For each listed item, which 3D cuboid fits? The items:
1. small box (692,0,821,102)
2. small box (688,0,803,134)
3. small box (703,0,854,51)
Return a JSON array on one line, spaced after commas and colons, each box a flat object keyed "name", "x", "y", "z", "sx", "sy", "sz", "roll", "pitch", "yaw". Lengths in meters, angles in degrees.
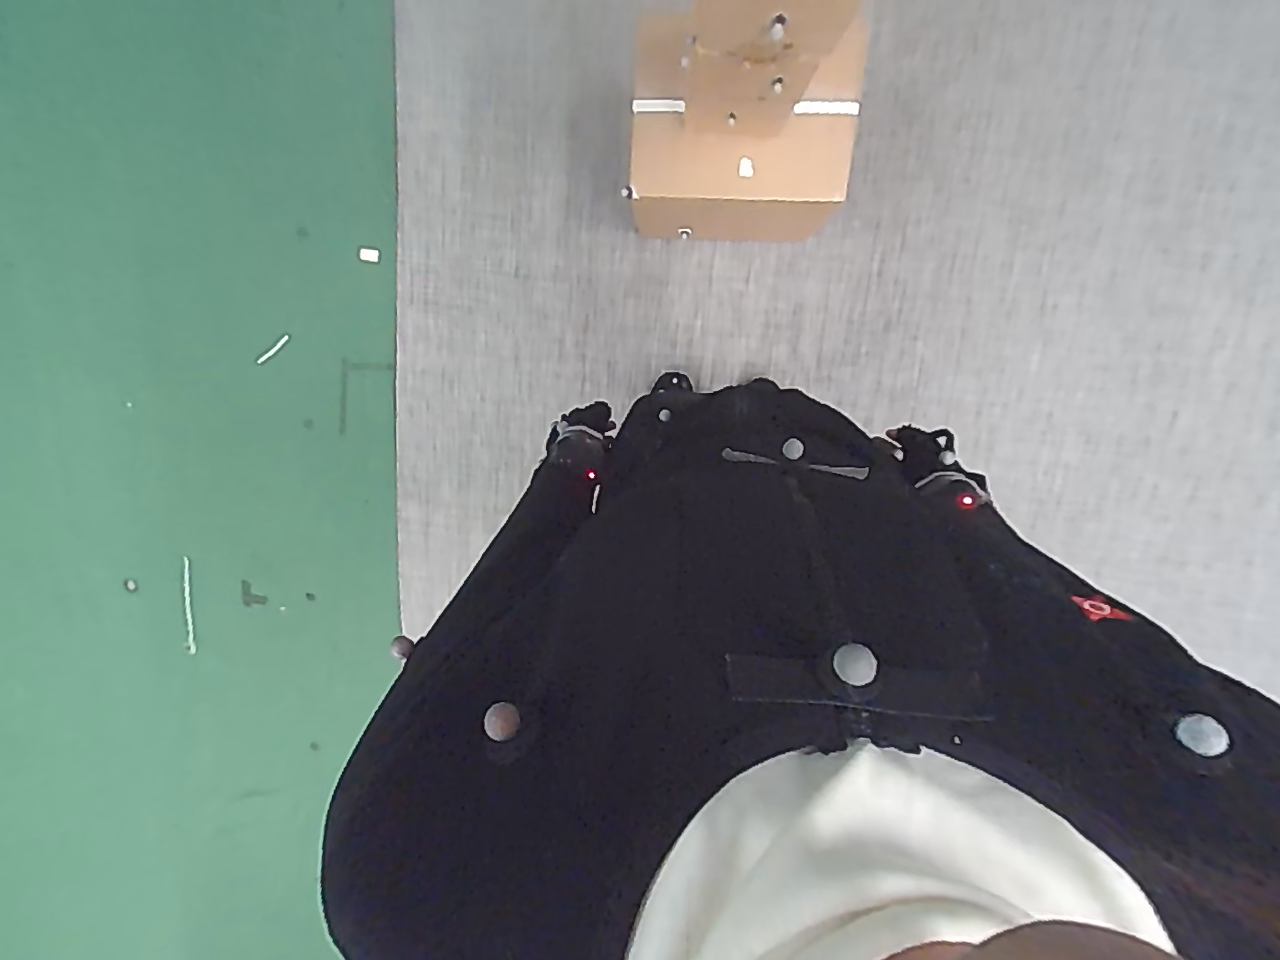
[{"name": "small box", "x": 0.160, "y": -0.646, "z": 0.740, "sx": 0.168, "sy": 0.176, "sz": 0.179, "roll": 4, "pitch": 107, "yaw": 3}, {"name": "small box", "x": 0.173, "y": -0.692, "z": 0.894, "sx": 0.179, "sy": 0.176, "sz": 0.168, "roll": 4, "pitch": 108, "yaw": 4}, {"name": "small box", "x": 0.158, "y": -0.599, "z": 0.583, "sx": 0.168, "sy": 0.176, "sz": 0.179, "roll": 5, "pitch": 108, "yaw": 3}]
